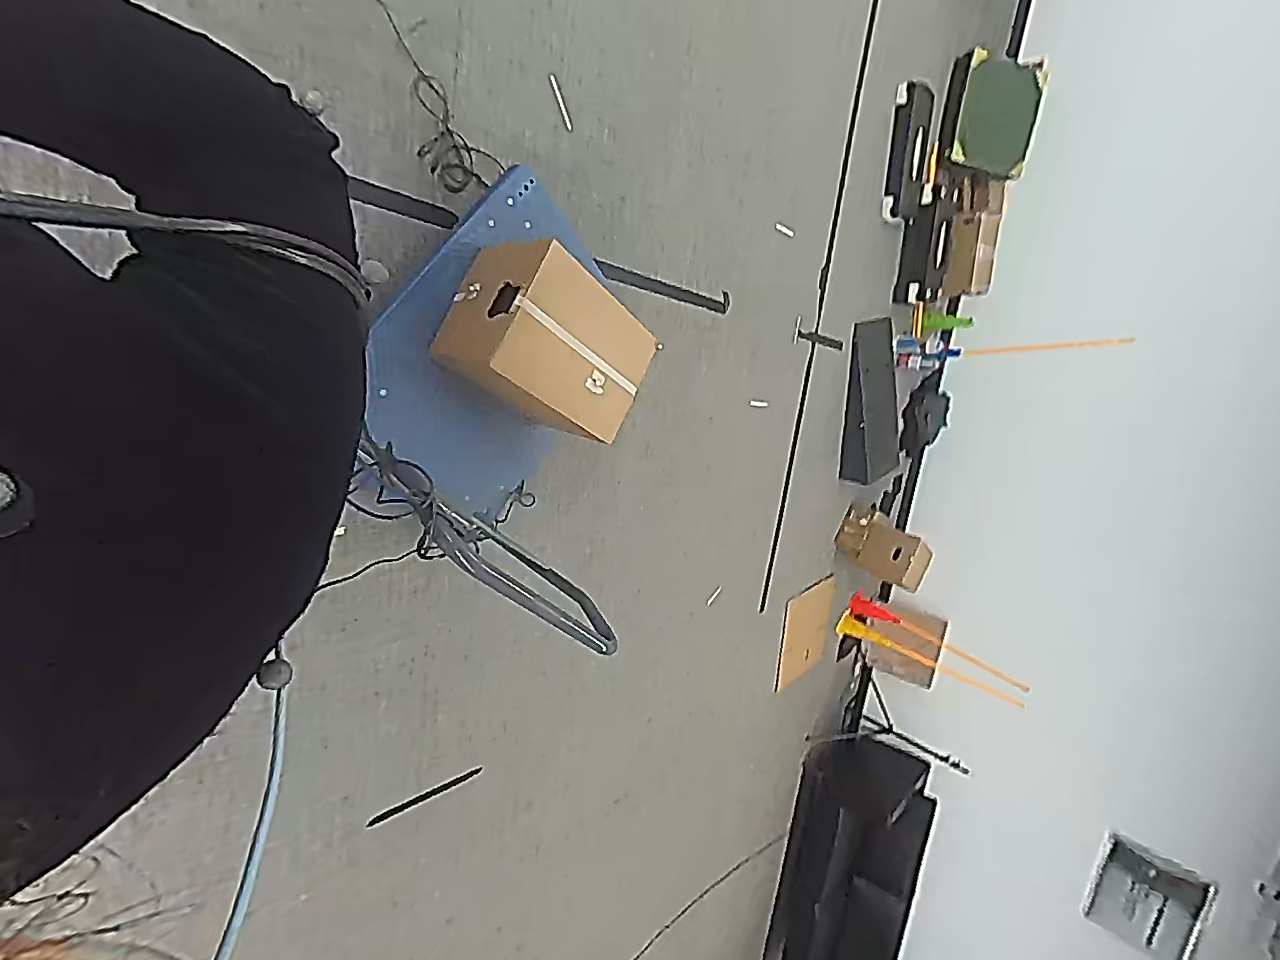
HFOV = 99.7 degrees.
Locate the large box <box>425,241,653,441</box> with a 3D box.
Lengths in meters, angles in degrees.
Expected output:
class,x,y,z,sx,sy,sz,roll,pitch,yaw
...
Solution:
class,x,y,z,sx,sy,sz,roll,pitch,yaw
large box,-0.247,-0.338,1.363,0.408,0.320,0.320,32,81,-47
